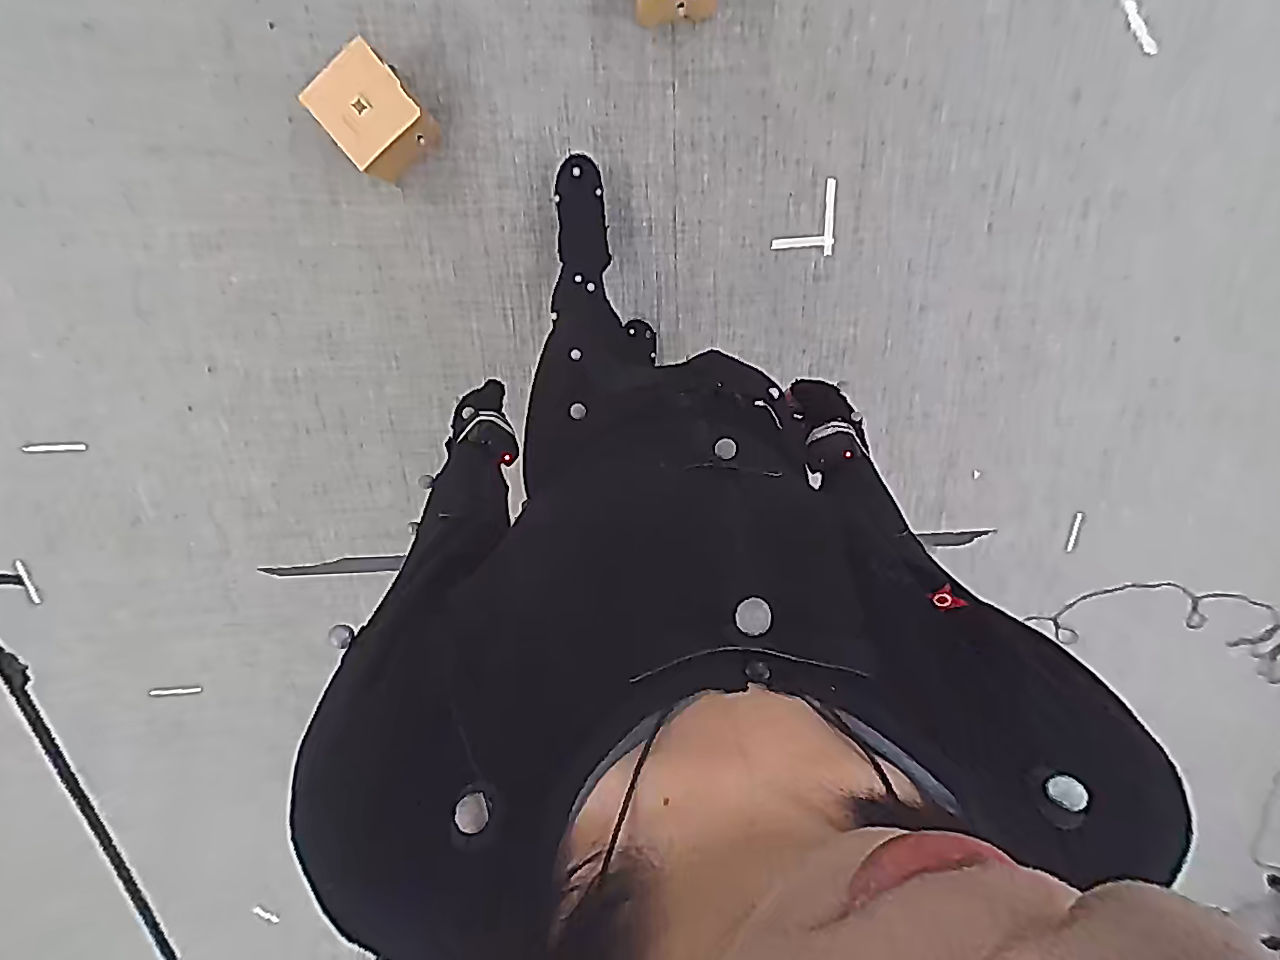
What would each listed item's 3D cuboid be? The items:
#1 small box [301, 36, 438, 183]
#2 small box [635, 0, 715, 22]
[{"bbox_3d":[-0.550,-0.760,1.133,0.179,0.176,0.168,-37,108,10],"label":"small box"},{"bbox_3d":[0.071,-1.047,1.071,0.168,0.176,0.179,-10,112,-1],"label":"small box"}]
